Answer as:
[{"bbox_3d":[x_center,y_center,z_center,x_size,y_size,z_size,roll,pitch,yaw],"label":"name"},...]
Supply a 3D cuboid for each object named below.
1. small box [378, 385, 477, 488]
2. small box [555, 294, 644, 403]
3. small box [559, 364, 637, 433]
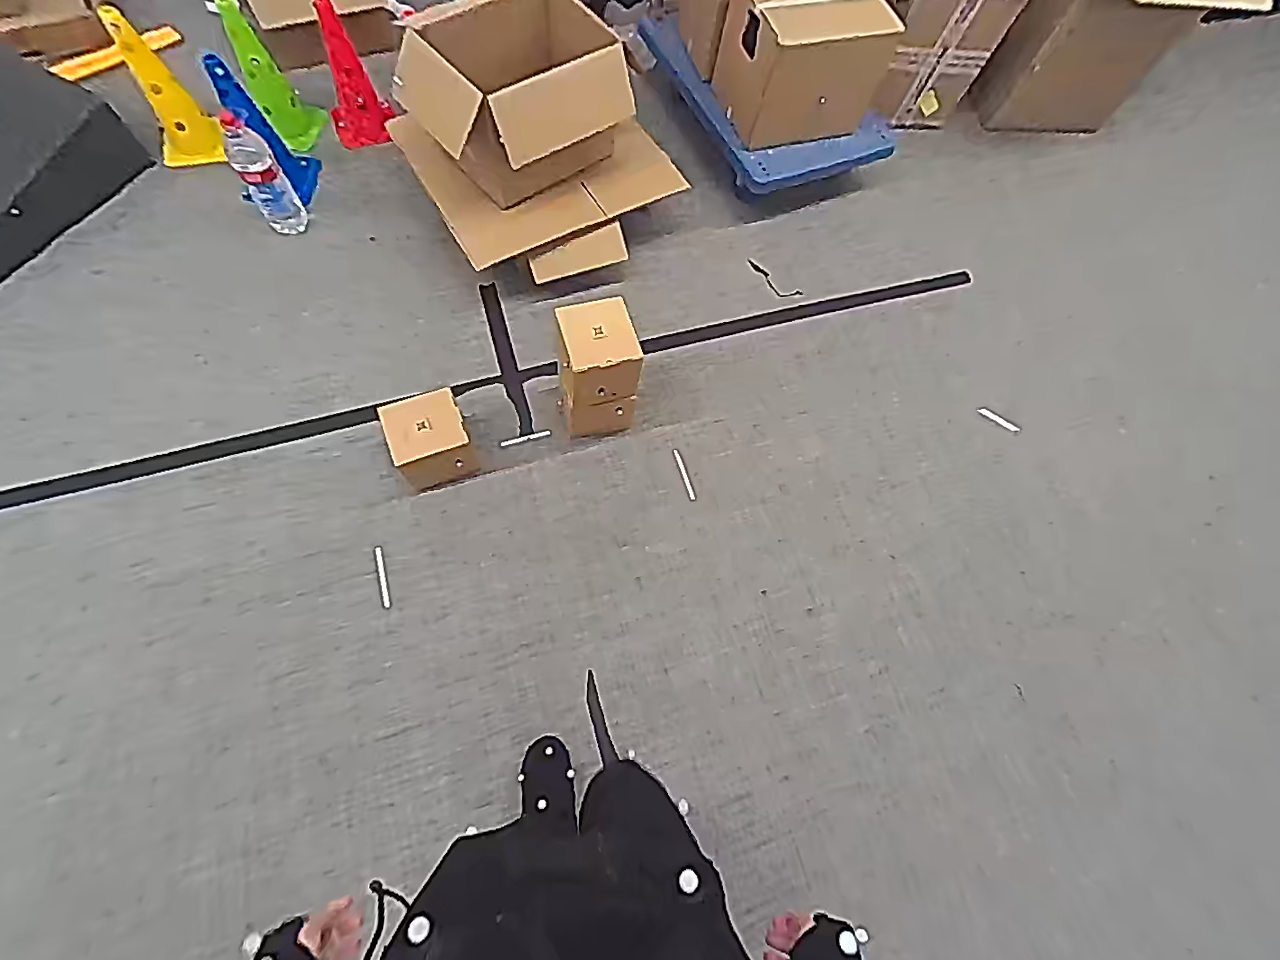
[{"bbox_3d":[-0.517,-0.104,1.344,0.179,0.176,0.168,-22,72,-13],"label":"small box"},{"bbox_3d":[-0.104,-0.311,1.296,0.168,0.176,0.179,-15,72,-13],"label":"small box"},{"bbox_3d":[-0.118,-0.242,1.443,0.179,0.176,0.168,-11,71,-12],"label":"small box"}]
